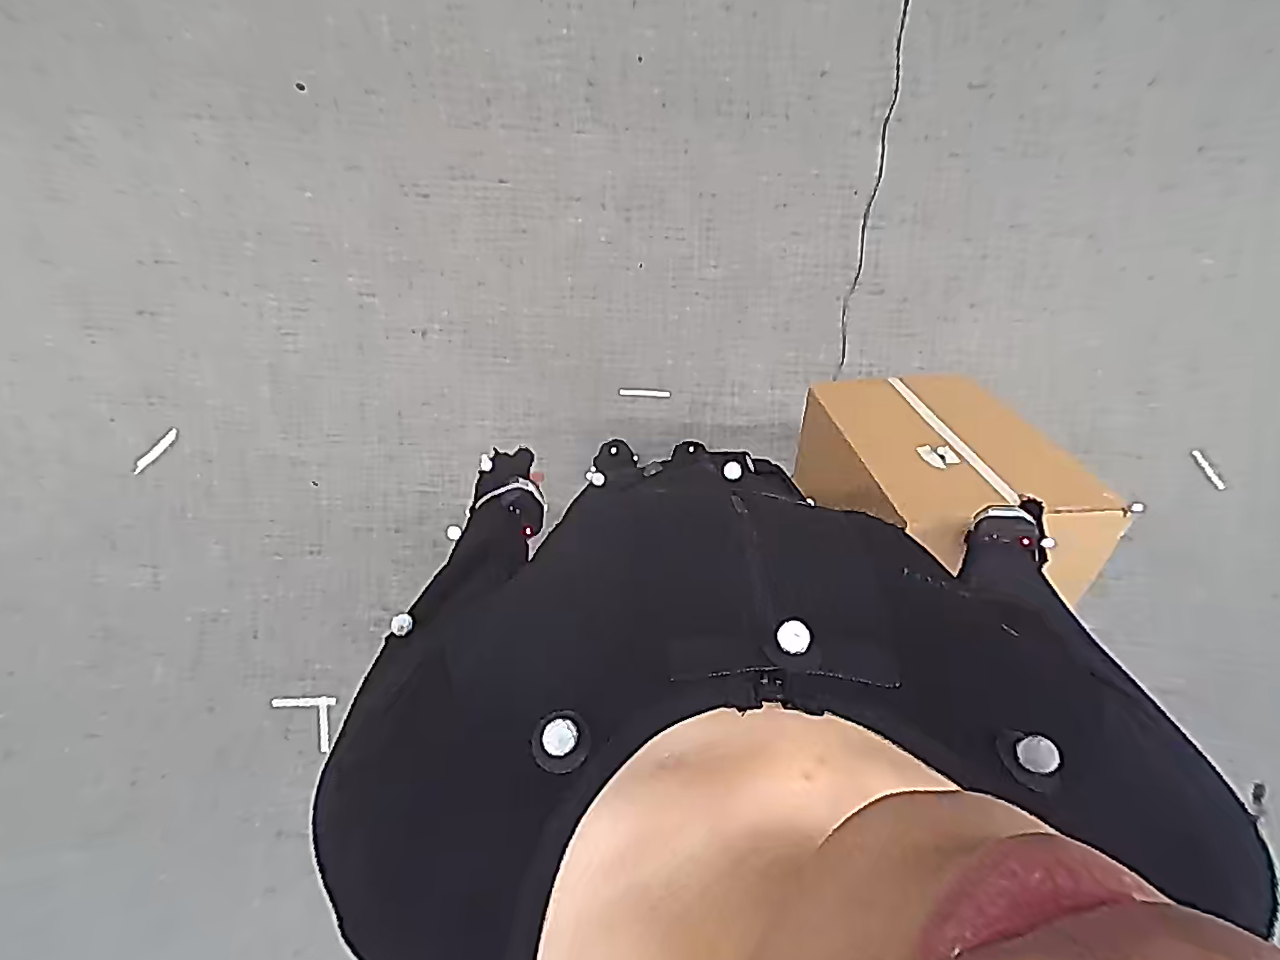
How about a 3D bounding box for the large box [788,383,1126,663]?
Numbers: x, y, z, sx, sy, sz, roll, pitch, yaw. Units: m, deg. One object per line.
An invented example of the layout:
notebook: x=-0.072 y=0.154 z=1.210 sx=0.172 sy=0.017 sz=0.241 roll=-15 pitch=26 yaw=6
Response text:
large box: x=0.492 y=0.058 z=0.967 sx=0.320 sy=0.408 sz=0.320 roll=-4 pitch=128 yaw=-3
